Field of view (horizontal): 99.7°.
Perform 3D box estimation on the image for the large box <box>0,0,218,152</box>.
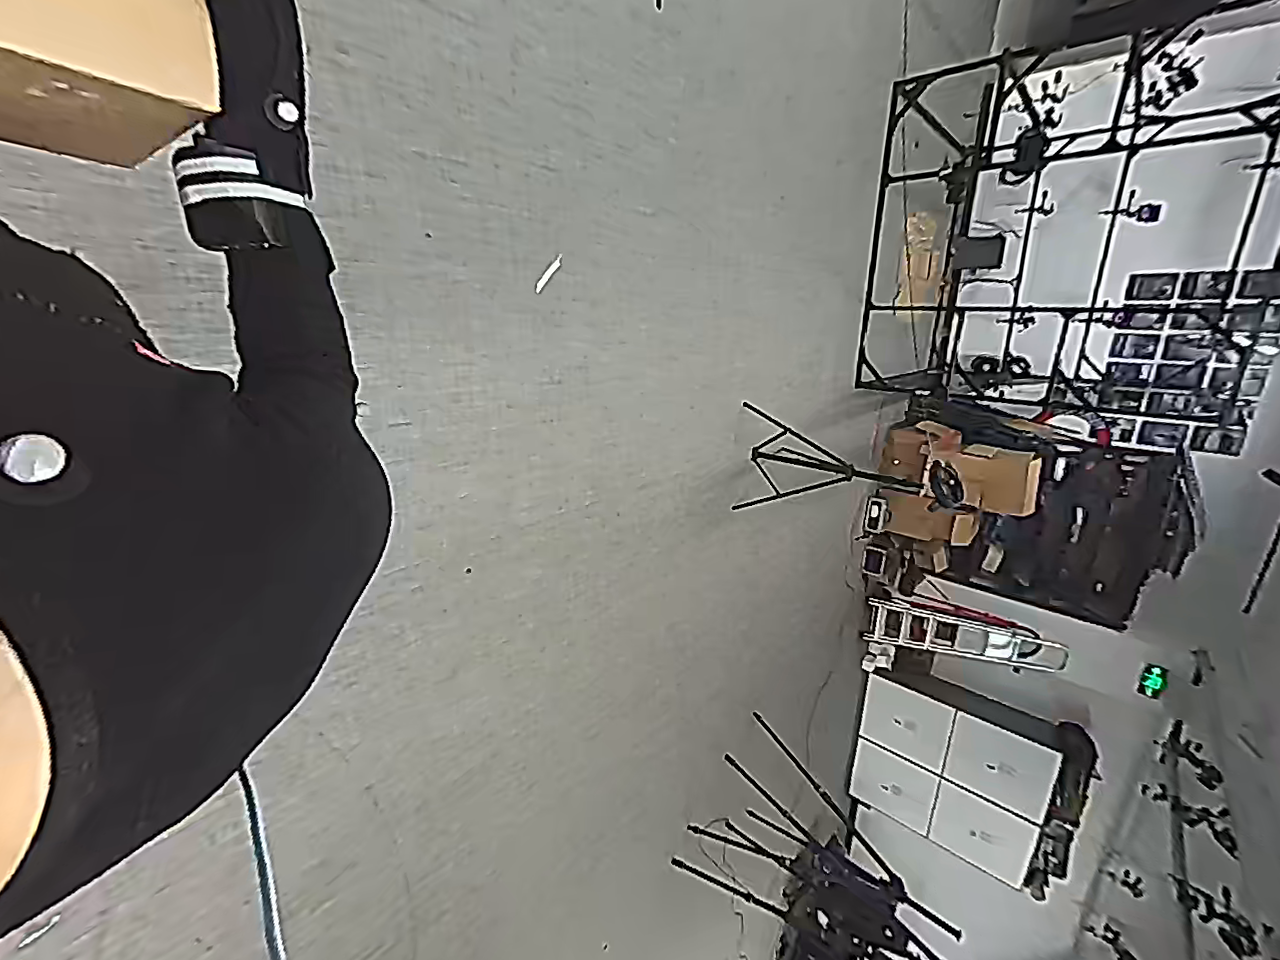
[{"bbox_3d":[-0.522,-0.415,0.276,0.408,0.320,0.320,-13,113,-49],"label":"large box"}]
